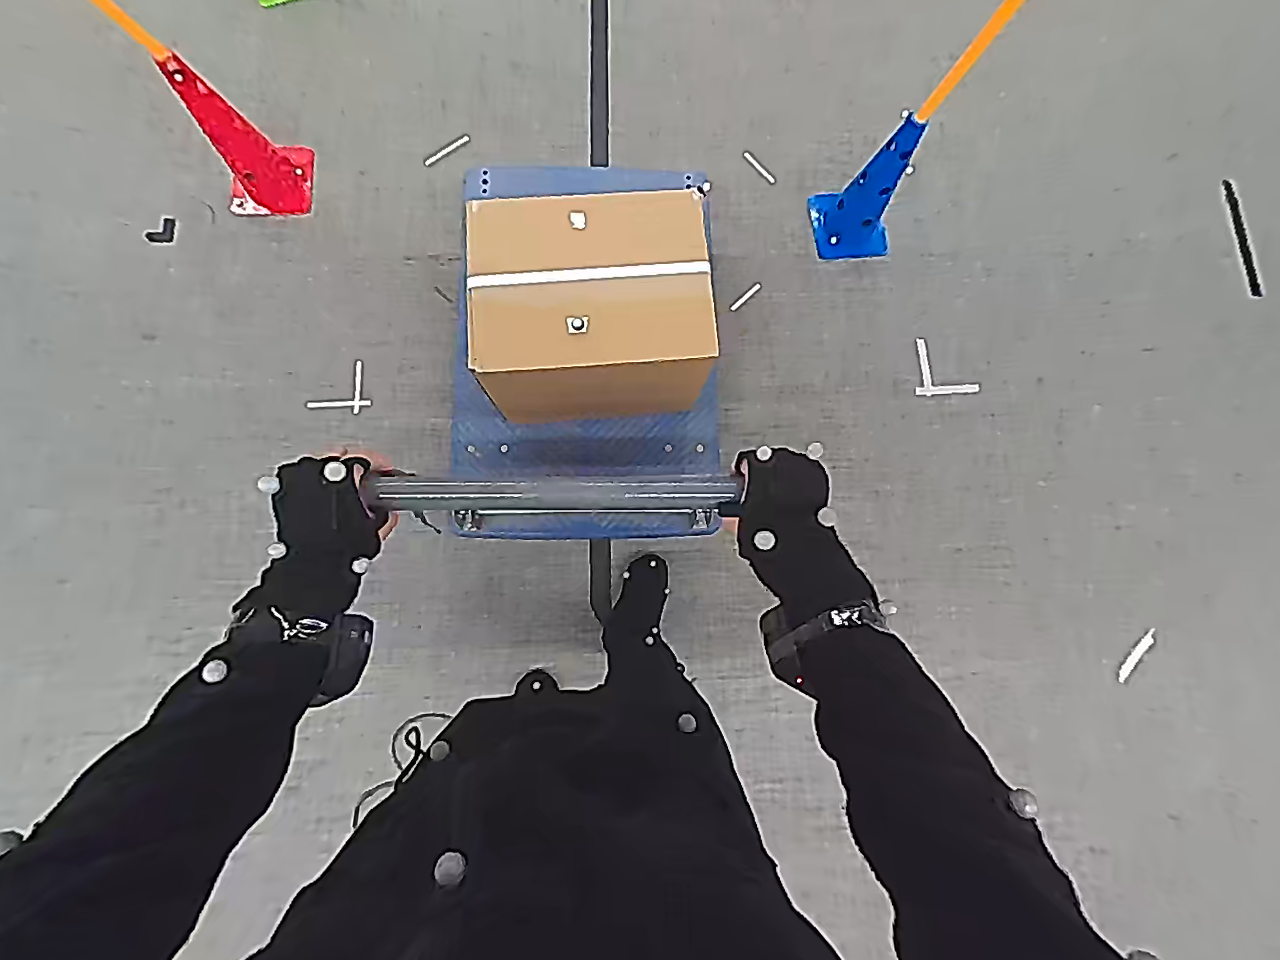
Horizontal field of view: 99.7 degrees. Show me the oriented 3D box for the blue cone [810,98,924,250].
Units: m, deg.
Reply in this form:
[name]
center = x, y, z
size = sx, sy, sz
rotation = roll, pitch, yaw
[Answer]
[blue cone]
center = 0.579, -0.749, 1.323
size = 0.193, 0.380, 0.192
rotation = -5, 79, -4
